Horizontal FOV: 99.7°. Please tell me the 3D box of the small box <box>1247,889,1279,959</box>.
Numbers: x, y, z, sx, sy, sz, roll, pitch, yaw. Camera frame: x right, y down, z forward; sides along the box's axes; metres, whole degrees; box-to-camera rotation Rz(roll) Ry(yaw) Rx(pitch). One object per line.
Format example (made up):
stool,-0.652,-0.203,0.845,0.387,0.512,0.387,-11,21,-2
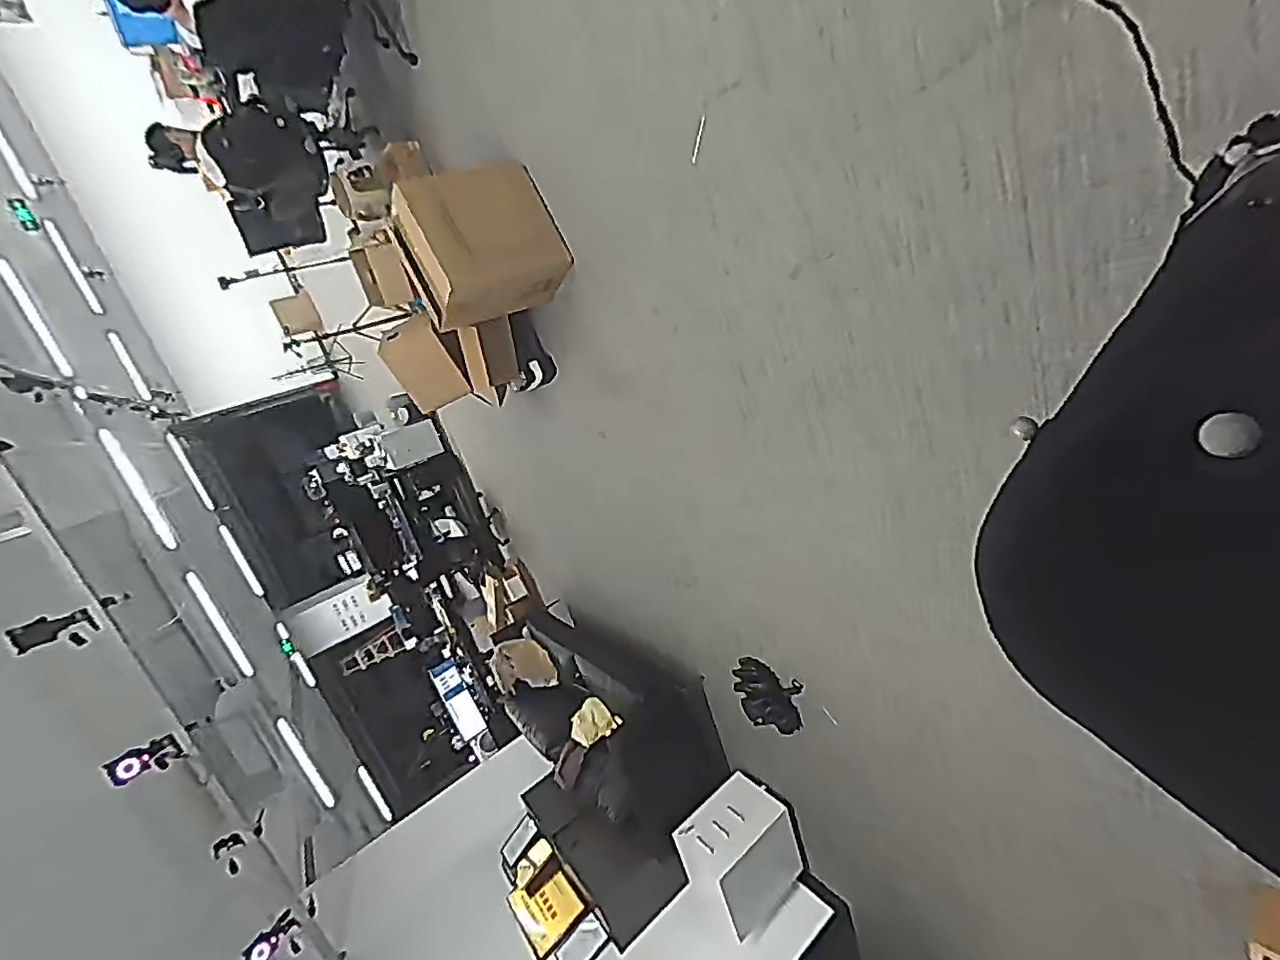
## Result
small box,1.556,1.106,1.255,0.179,0.176,0.168,5,118,54
